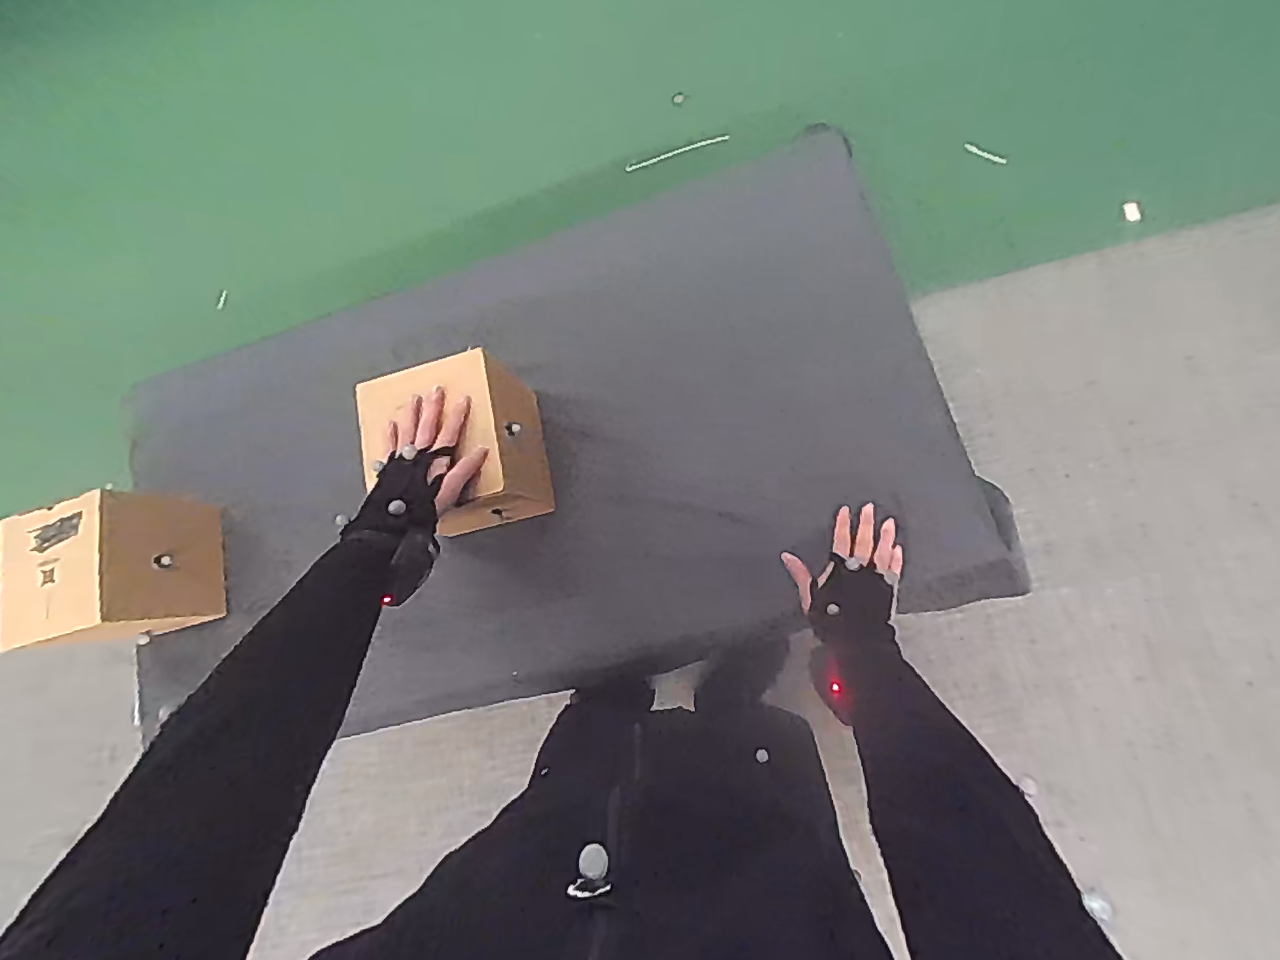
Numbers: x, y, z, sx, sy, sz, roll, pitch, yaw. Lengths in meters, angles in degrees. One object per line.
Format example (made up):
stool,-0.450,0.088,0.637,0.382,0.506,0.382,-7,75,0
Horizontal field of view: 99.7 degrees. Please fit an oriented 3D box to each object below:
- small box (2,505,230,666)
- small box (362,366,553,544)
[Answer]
small box,-0.725,0.148,0.765,0.168,0.176,0.179,-16,78,8
small box,-0.224,-0.018,0.698,0.168,0.176,0.179,-15,77,7
